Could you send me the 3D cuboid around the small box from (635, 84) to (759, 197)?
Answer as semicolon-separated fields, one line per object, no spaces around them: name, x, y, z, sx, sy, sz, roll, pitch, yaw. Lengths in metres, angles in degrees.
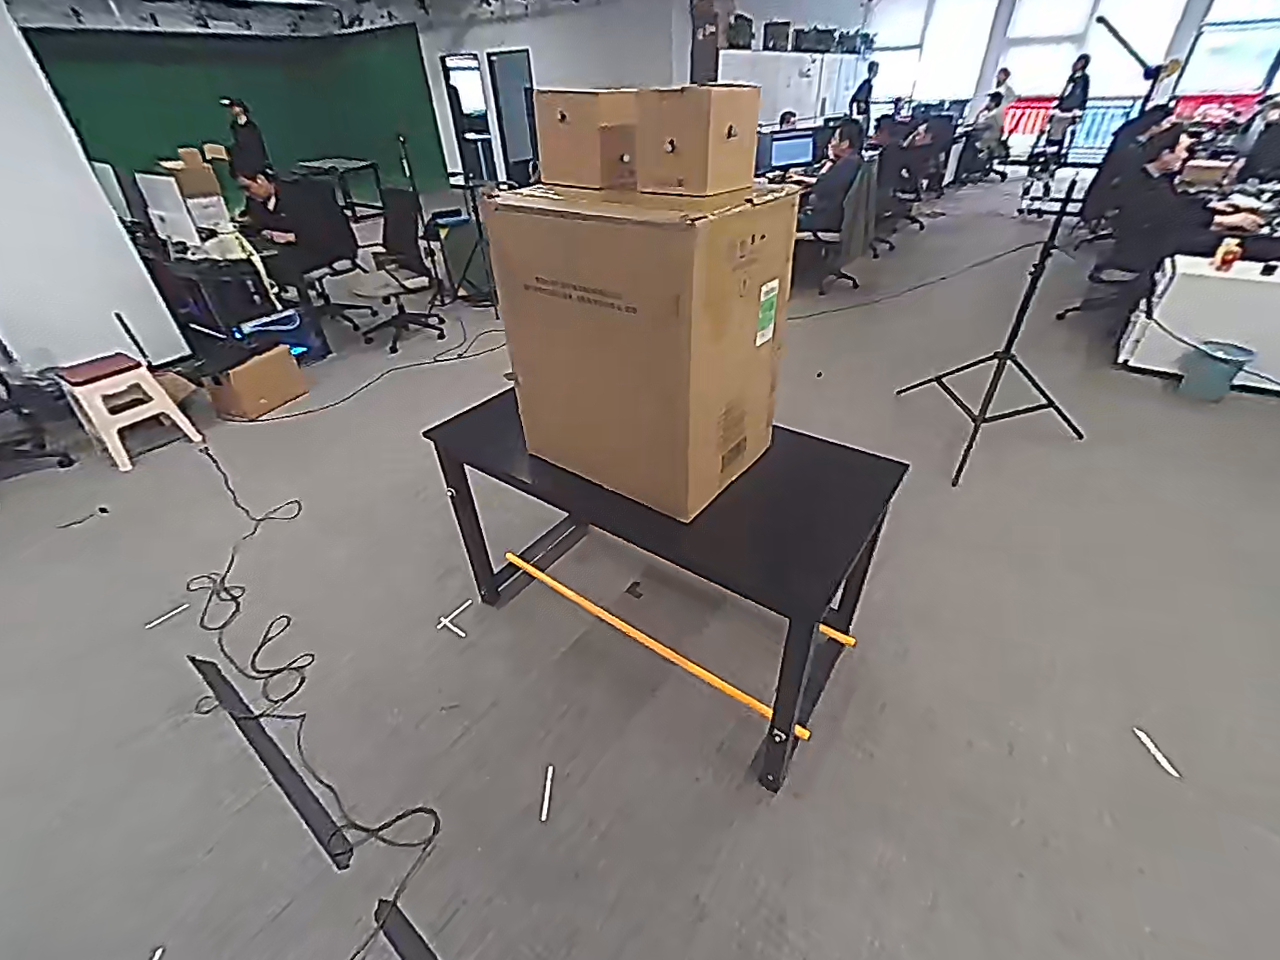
small box;0.111;-0.647;1.035;0.168;0.176;0.179;23;42;31

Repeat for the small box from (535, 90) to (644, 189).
small box;-0.100;-0.730;1.159;0.179;0.176;0.168;24;43;29
